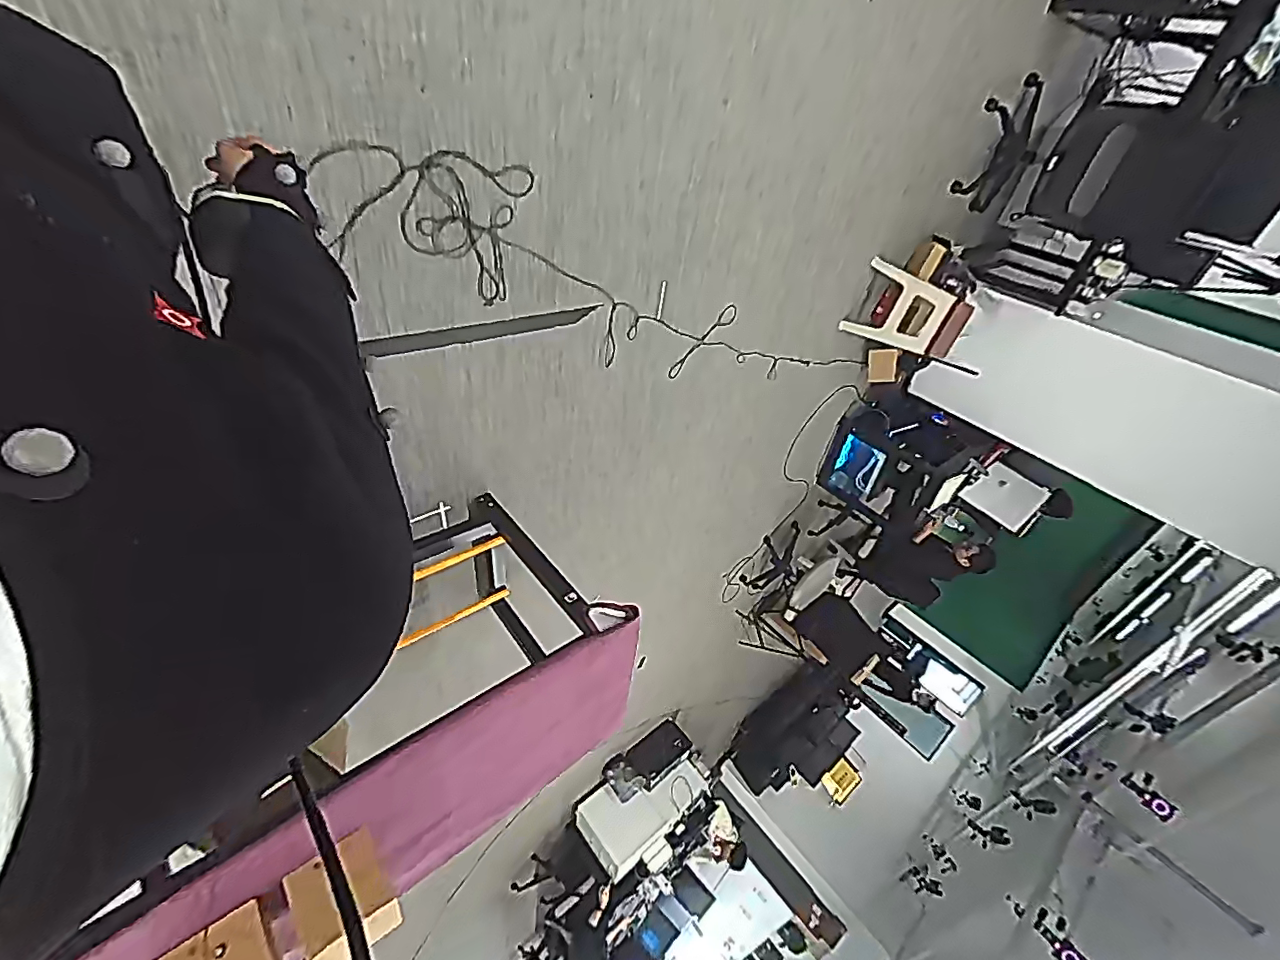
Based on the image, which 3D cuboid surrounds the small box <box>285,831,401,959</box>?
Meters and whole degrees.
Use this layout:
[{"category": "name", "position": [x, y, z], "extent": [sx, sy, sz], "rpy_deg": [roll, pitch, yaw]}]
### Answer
[{"category": "small box", "position": [-0.623, 0.891, 1.143], "extent": [0.168, 0.176, 0.179], "rpy_deg": [-20, 137, -37]}]

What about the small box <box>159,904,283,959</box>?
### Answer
[{"category": "small box", "position": [-0.783, 0.958, 1.023], "extent": [0.168, 0.176, 0.179], "rpy_deg": [-20, 138, -37]}]
